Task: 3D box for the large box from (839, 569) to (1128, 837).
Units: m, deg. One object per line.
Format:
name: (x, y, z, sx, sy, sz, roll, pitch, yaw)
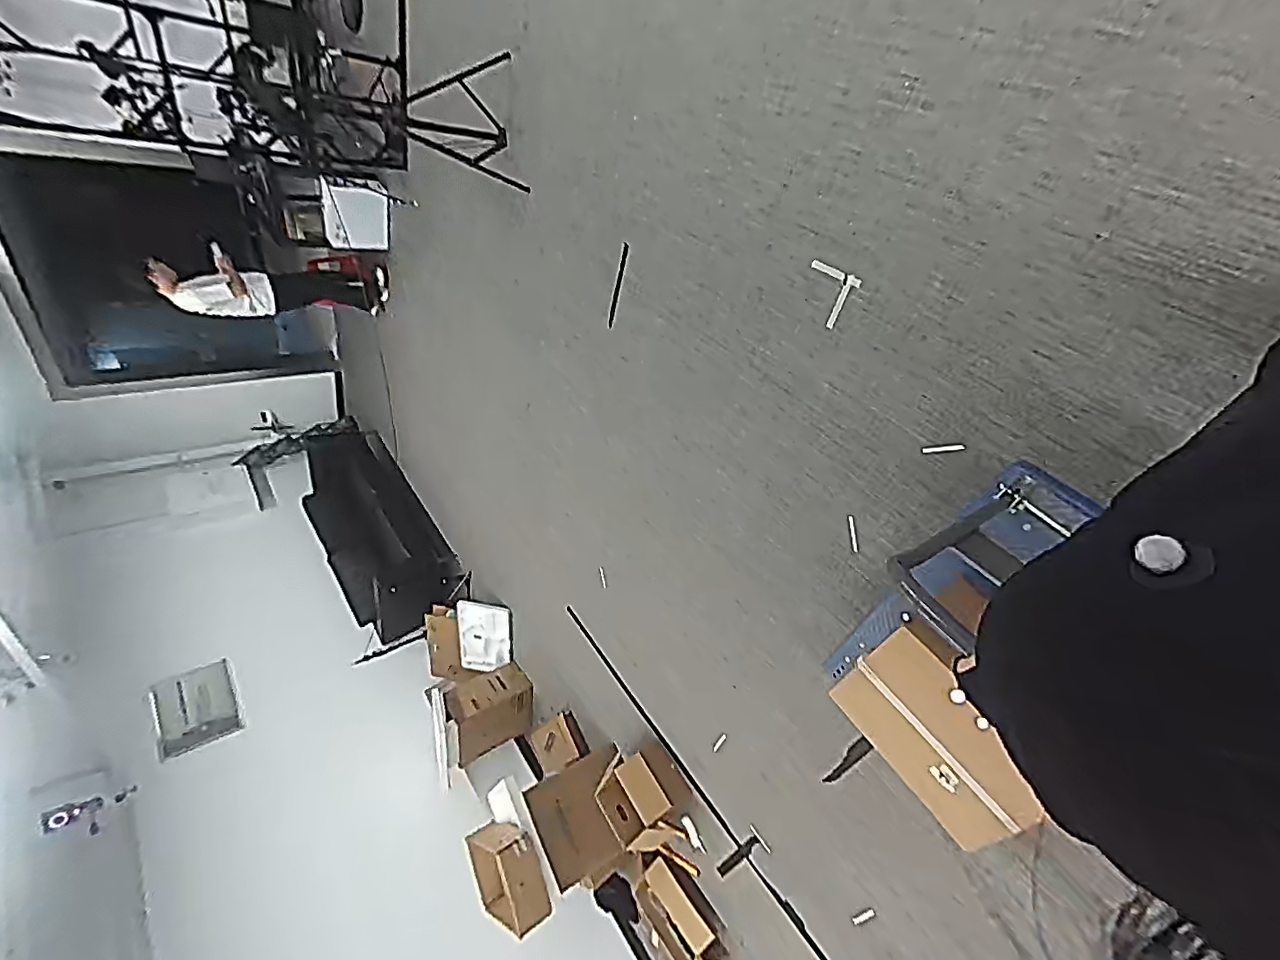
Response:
large box: (0.755, 0.479, 1.225, 0.408, 0.320, 0.320, 48, 136, 28)
